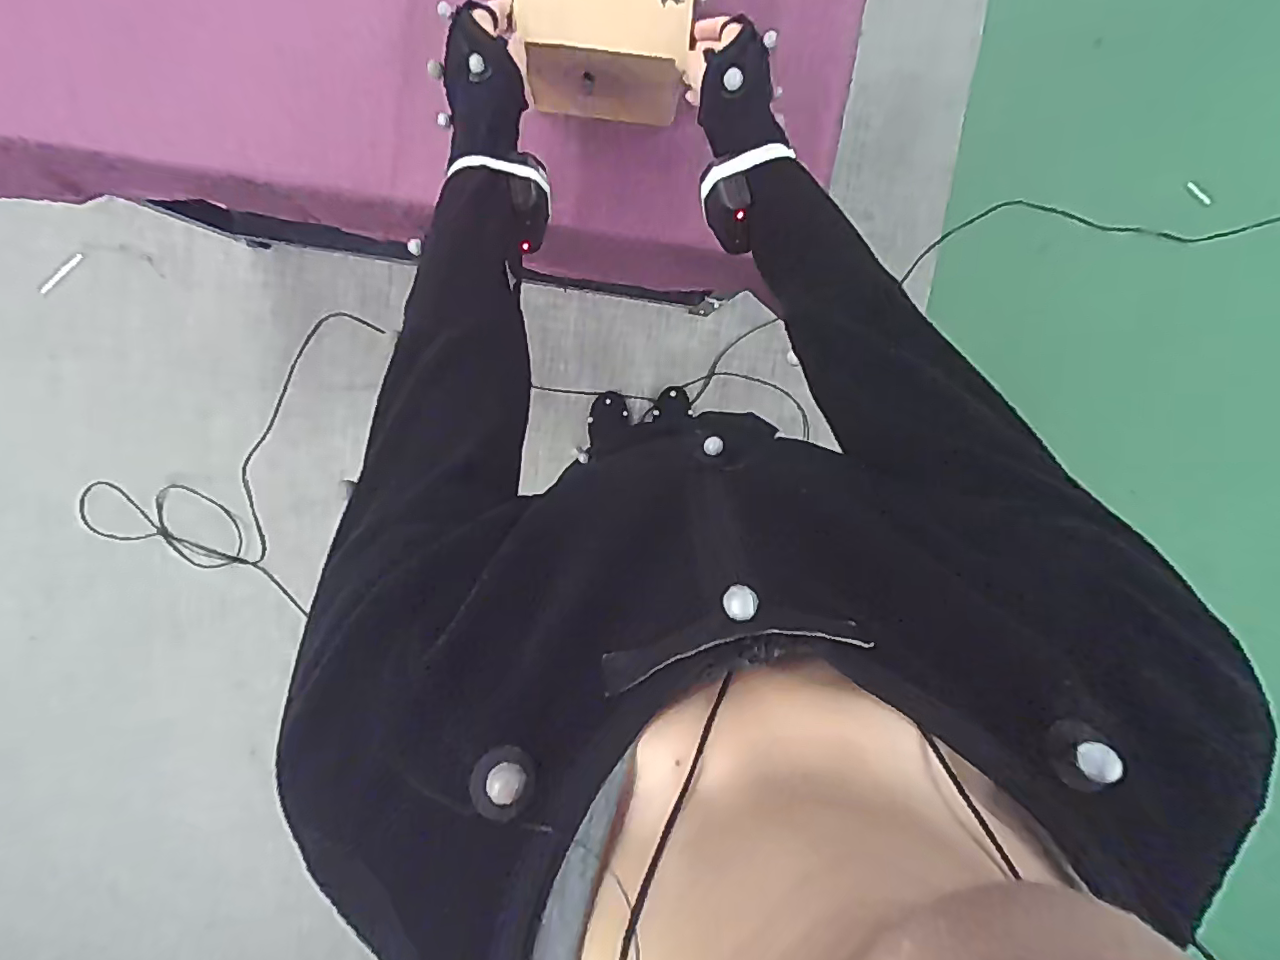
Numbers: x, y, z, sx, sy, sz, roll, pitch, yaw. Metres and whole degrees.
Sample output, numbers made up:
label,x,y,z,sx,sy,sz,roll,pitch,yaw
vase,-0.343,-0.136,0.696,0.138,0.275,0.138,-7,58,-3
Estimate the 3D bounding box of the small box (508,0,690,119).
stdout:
label,x,y,z,sx,sy,sz,roll,pitch,yaw
small box,-0.035,-0.522,0.586,0.179,0.176,0.168,5,103,-3
